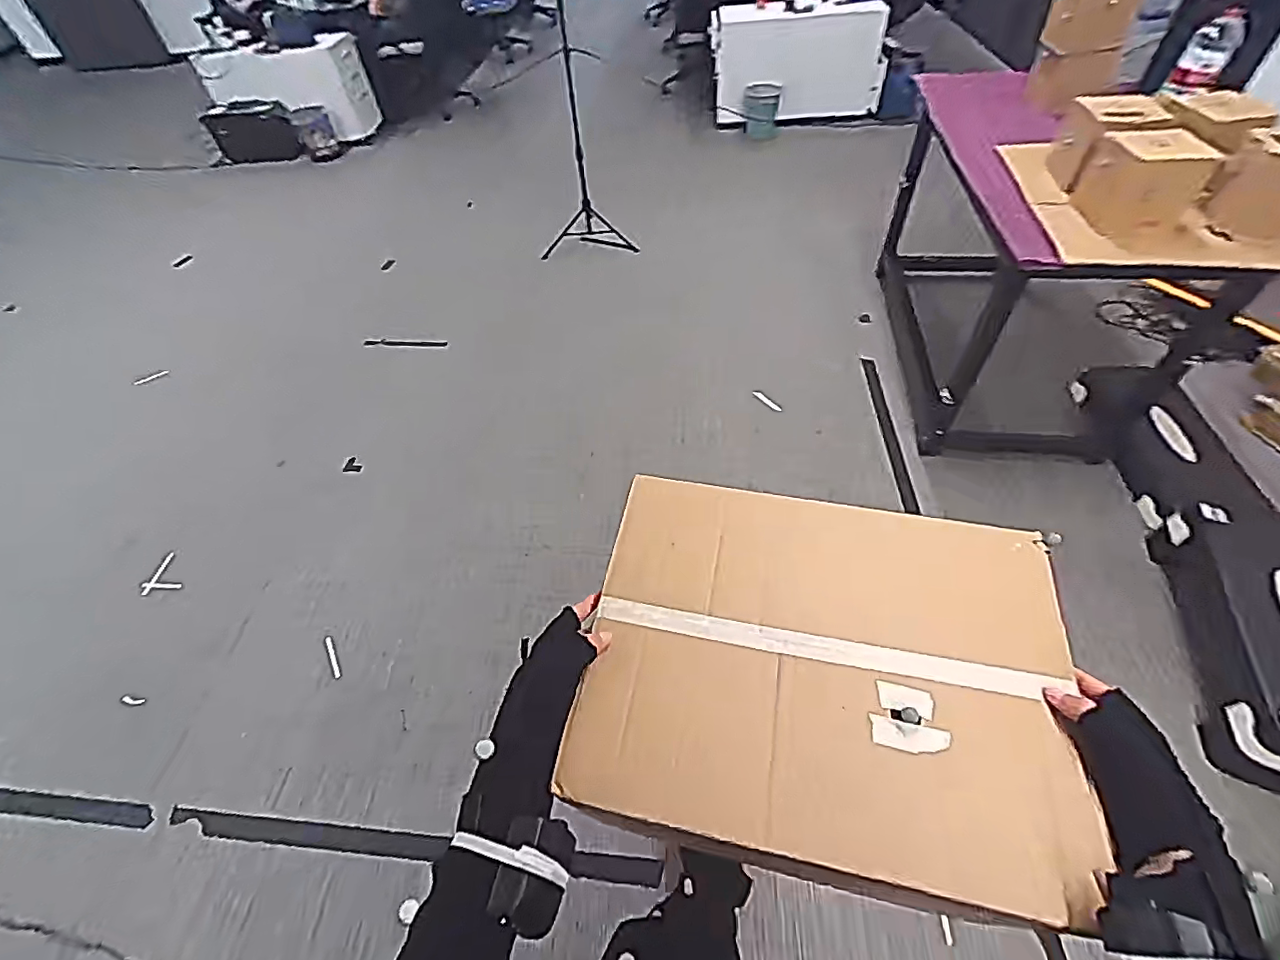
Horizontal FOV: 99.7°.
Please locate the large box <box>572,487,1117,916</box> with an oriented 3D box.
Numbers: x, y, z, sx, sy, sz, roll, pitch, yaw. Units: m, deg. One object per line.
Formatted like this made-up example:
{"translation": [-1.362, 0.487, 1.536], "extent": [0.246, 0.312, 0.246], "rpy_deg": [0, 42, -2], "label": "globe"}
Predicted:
{"translation": [0.174, 0.241, 0.607], "extent": [0.408, 0.320, 0.320], "rpy_deg": [8, 56, 10], "label": "large box"}
